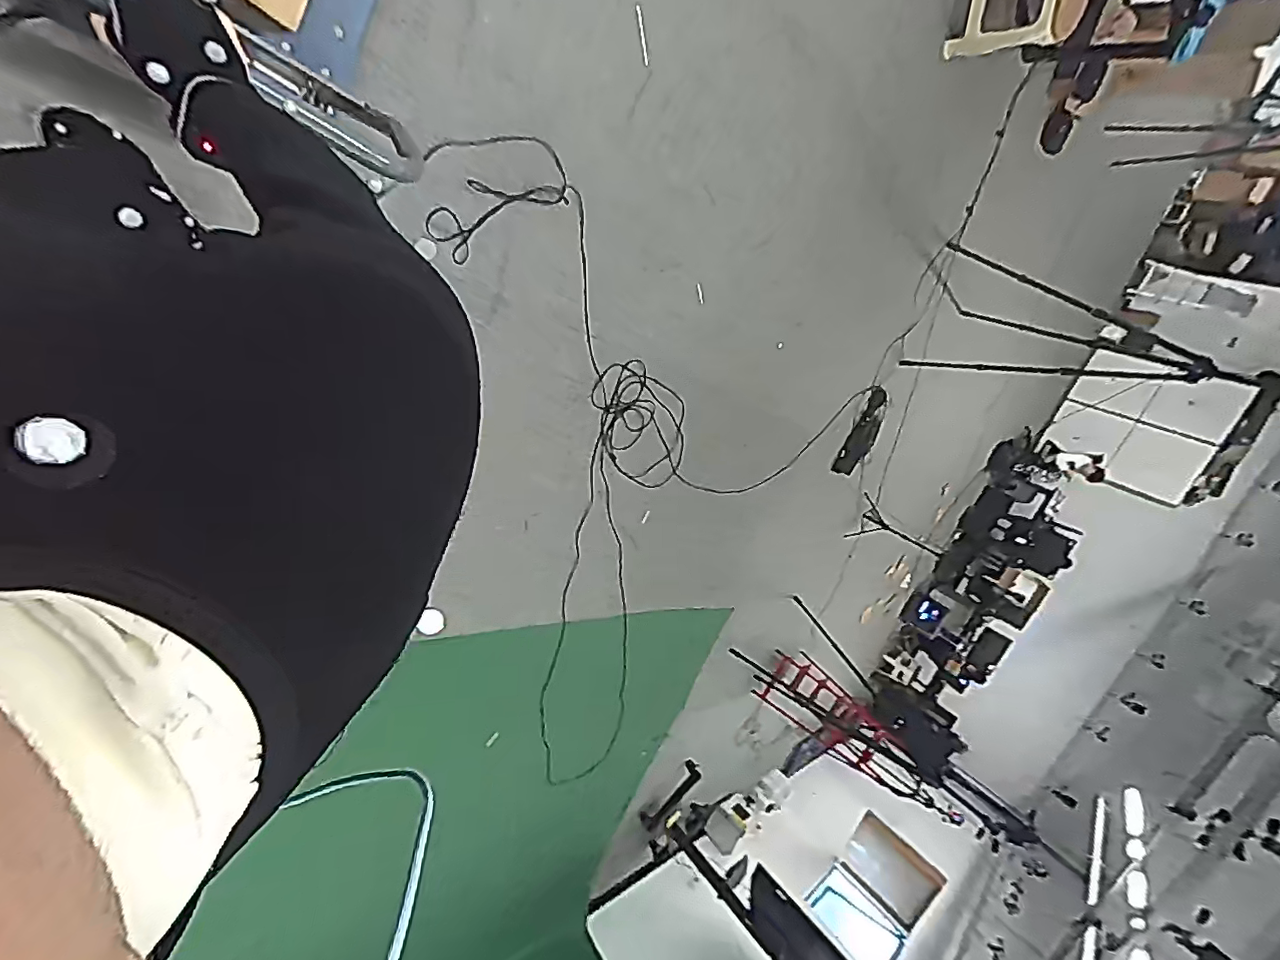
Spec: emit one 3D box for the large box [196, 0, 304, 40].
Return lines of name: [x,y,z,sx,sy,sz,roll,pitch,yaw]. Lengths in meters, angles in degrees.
large box: [-0.630,-0.945,0.764,0.320,0.320,0.408,16,106,-50]
